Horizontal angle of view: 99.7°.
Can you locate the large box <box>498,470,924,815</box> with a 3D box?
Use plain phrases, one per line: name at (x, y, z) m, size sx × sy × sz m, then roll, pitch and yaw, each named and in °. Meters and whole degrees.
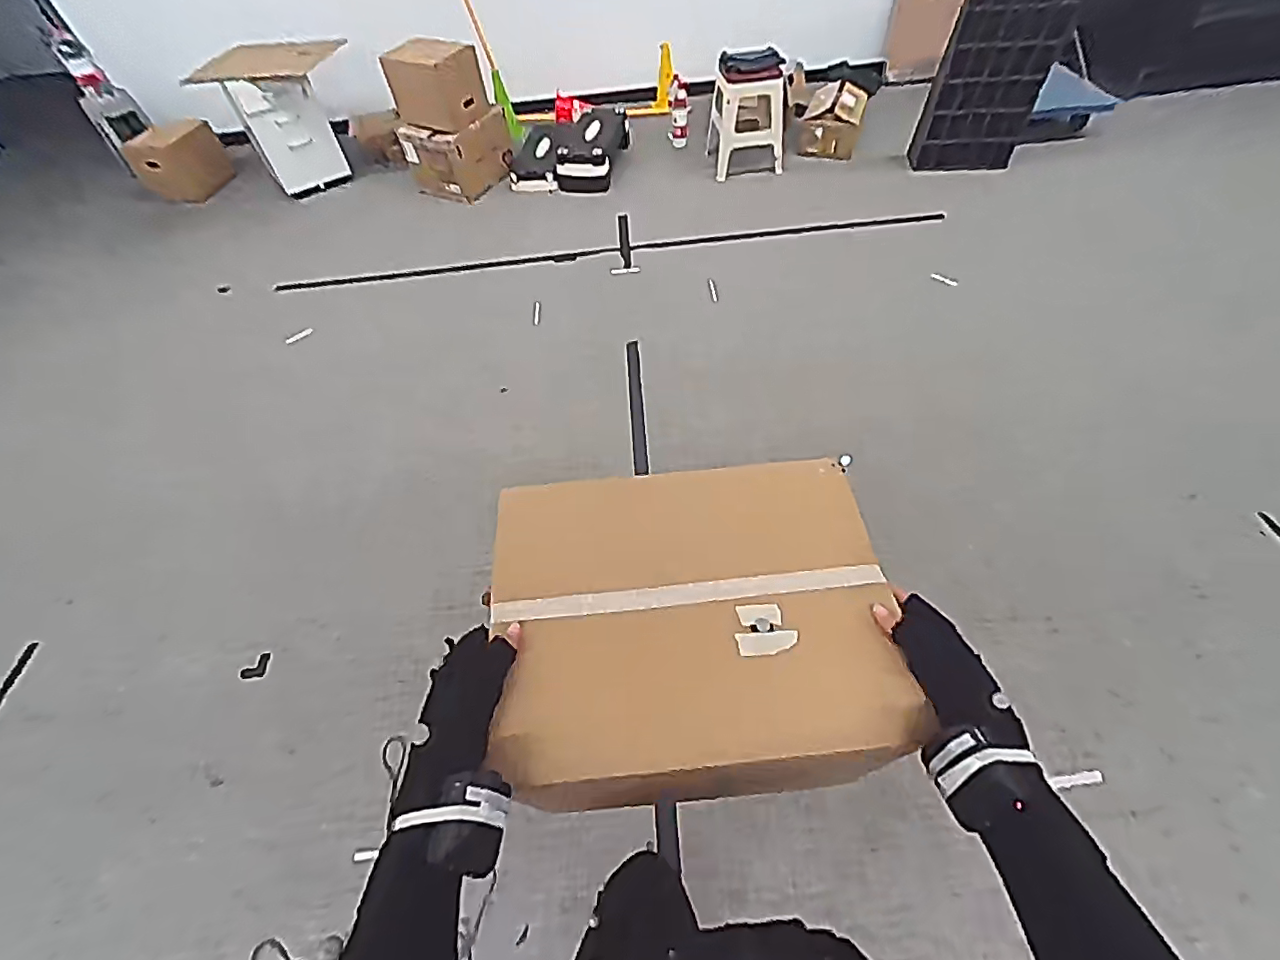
large box at (0.055, 0.217, 0.696) m, size 0.408 × 0.320 × 0.320 m, roll -5°, pitch 55°, yaw -2°
